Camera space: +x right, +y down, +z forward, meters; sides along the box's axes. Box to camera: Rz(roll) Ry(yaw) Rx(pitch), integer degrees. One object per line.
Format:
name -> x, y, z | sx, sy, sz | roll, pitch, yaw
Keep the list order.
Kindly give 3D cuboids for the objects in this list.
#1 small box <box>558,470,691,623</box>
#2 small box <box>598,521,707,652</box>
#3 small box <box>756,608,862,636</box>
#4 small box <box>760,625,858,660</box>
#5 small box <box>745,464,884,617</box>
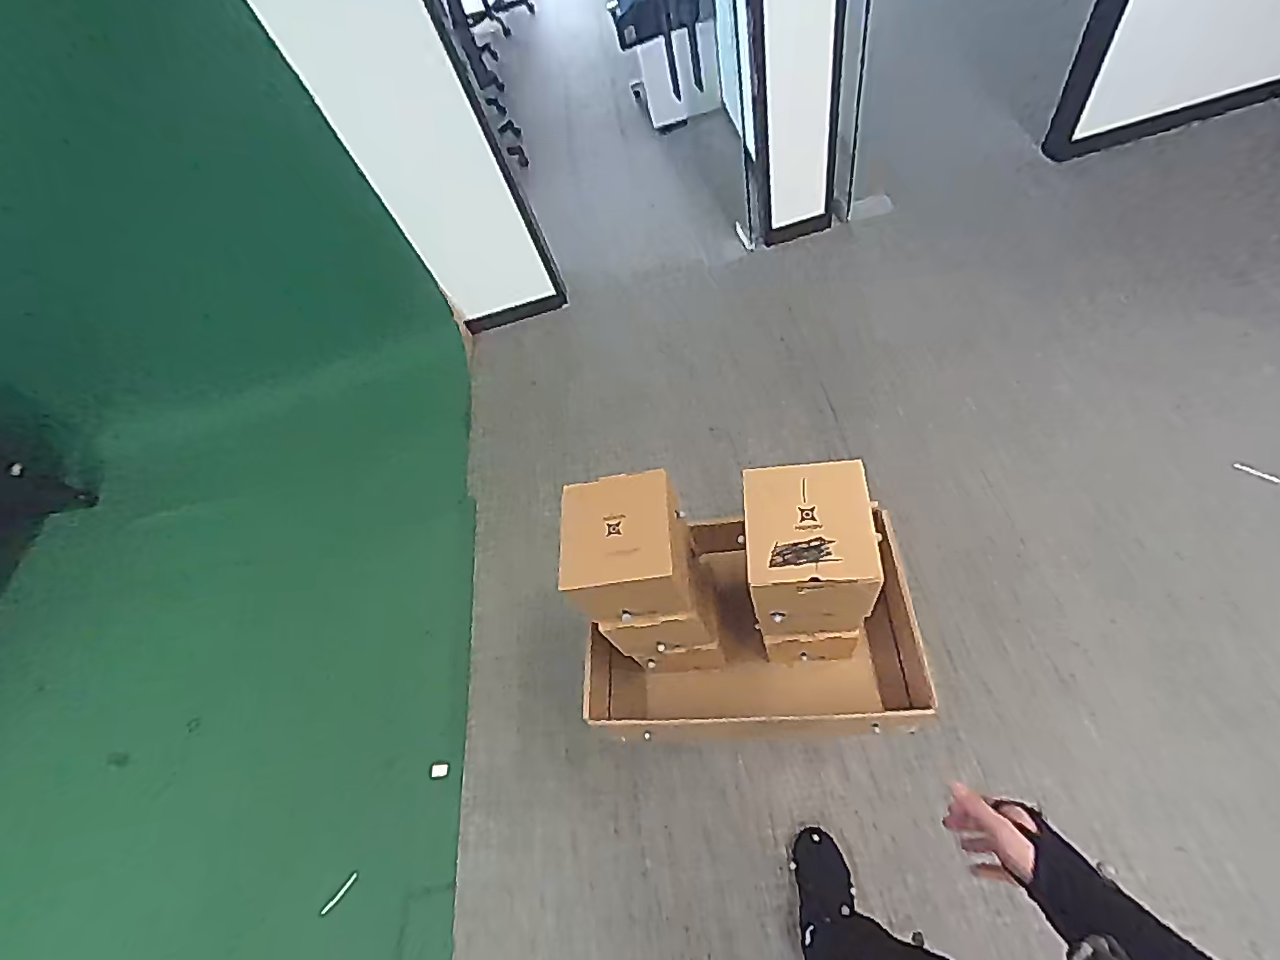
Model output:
small box -> -0.018, 0.108, 0.841 | 0.168, 0.176, 0.179 | -9, 58, 11
small box -> 0.024, 0.196, 0.972 | 0.168, 0.176, 0.179 | -10, 59, 9
small box -> 0.280, 0.159, 0.931 | 0.168, 0.176, 0.179 | -5, 60, 12
small box -> 0.318, 0.246, 1.065 | 0.168, 0.176, 0.179 | -7, 60, 11
small box -> 0.243, 0.096, 0.781 | 0.168, 0.176, 0.179 | -4, 61, 12
